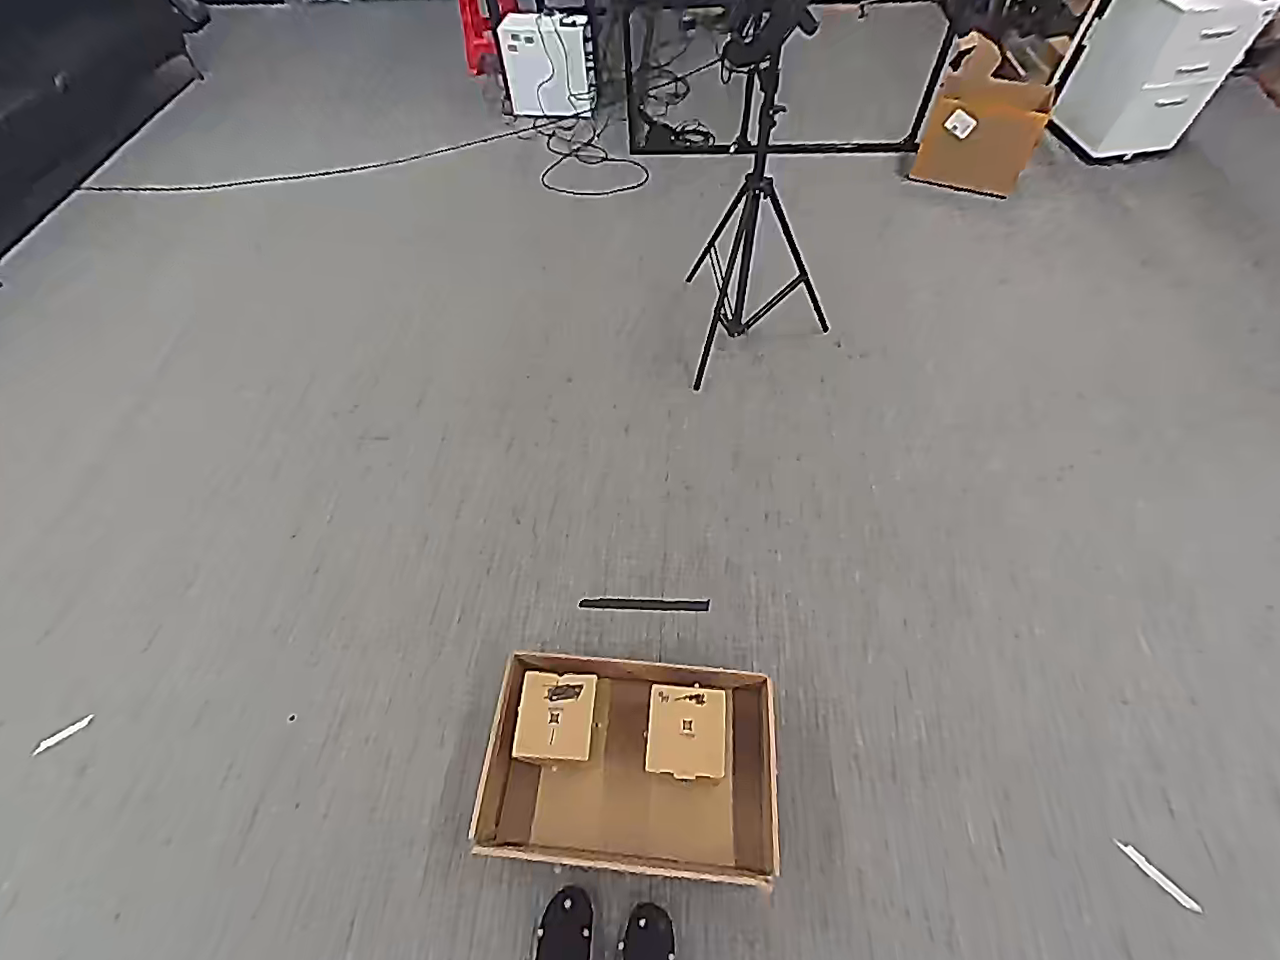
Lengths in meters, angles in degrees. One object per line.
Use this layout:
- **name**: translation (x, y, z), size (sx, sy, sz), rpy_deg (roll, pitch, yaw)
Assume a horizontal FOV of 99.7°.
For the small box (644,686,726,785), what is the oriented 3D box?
- **small box**: translation (0.102, 0.576, 1.211), size (0.168, 0.176, 0.179), rpy_deg (3, 59, 5)
